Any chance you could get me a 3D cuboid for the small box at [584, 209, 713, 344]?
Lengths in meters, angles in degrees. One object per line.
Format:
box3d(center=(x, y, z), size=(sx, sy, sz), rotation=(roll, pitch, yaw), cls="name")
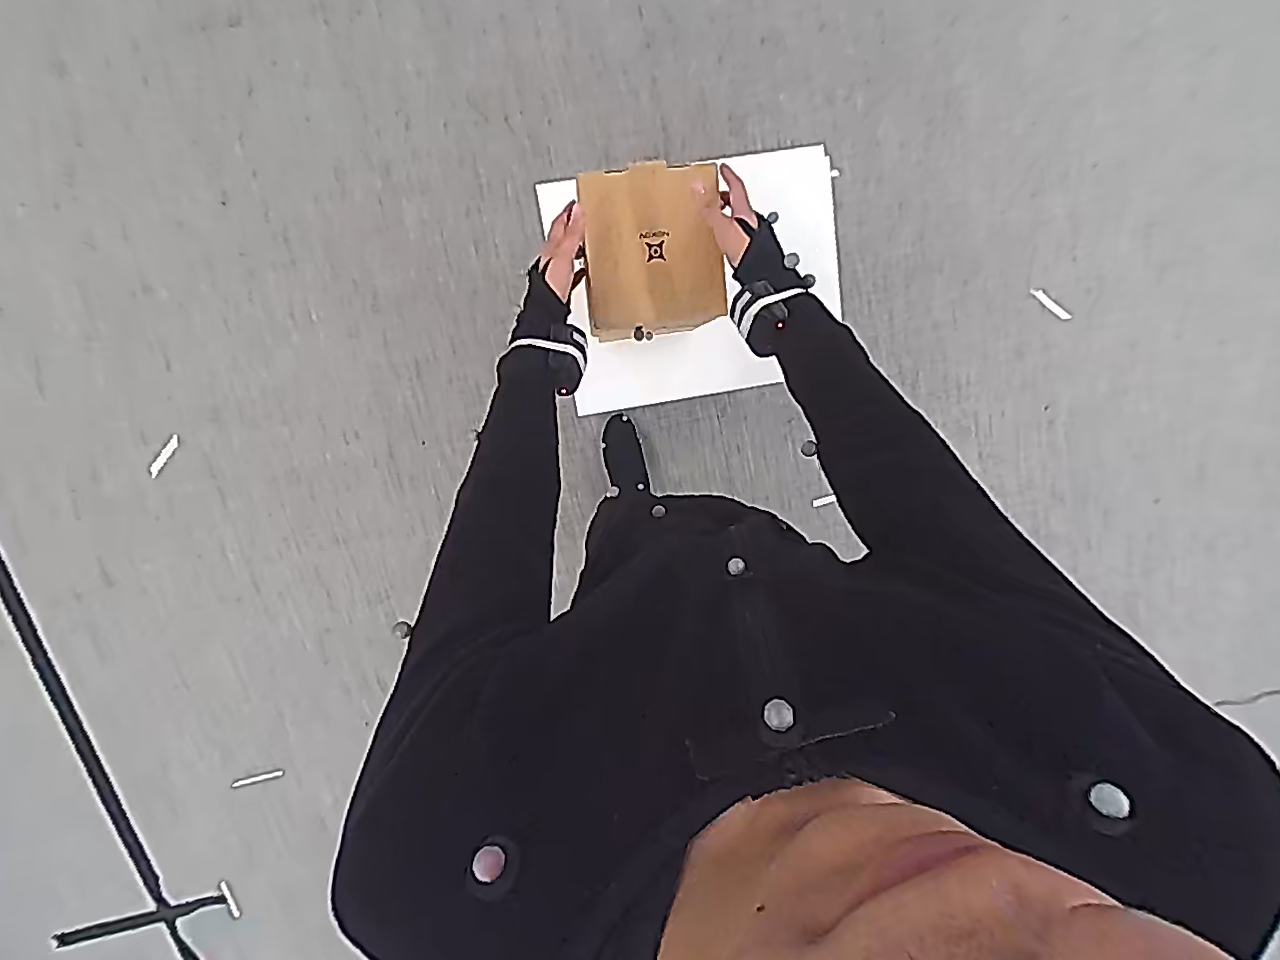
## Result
box3d(center=(0.007, -0.319, 0.878), size=(0.179, 0.176, 0.168), rotation=(-9, 101, -5), cls="small box")
